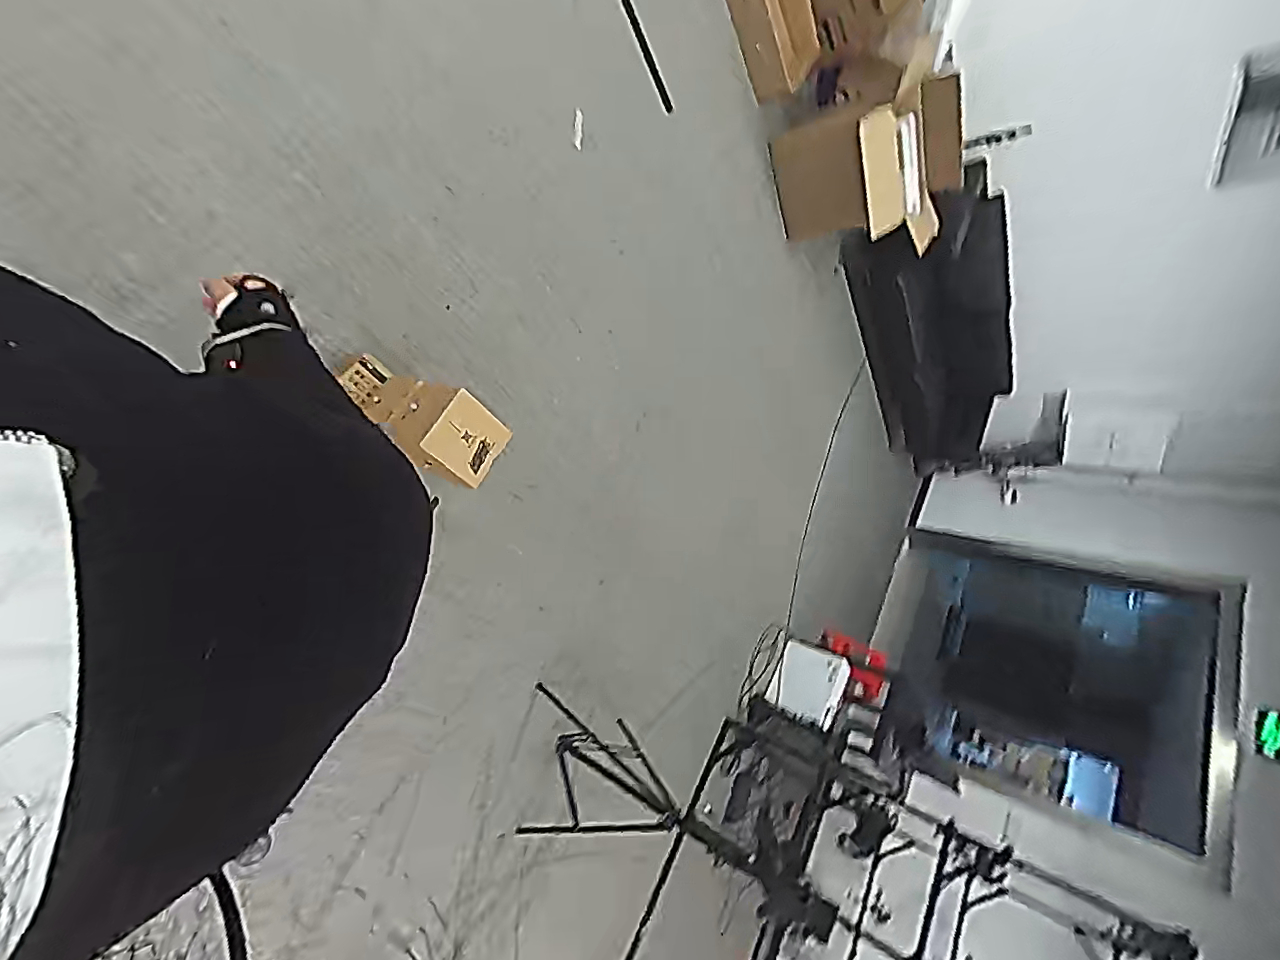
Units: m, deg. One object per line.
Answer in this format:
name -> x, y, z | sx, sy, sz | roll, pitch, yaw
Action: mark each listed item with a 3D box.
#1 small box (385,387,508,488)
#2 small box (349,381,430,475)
small box -> -0.455, -0.106, 1.275 | 0.179, 0.176, 0.168 | 49, 62, -43
small box -> -0.587, -0.138, 1.367 | 0.168, 0.176, 0.179 | -60, 137, -22
